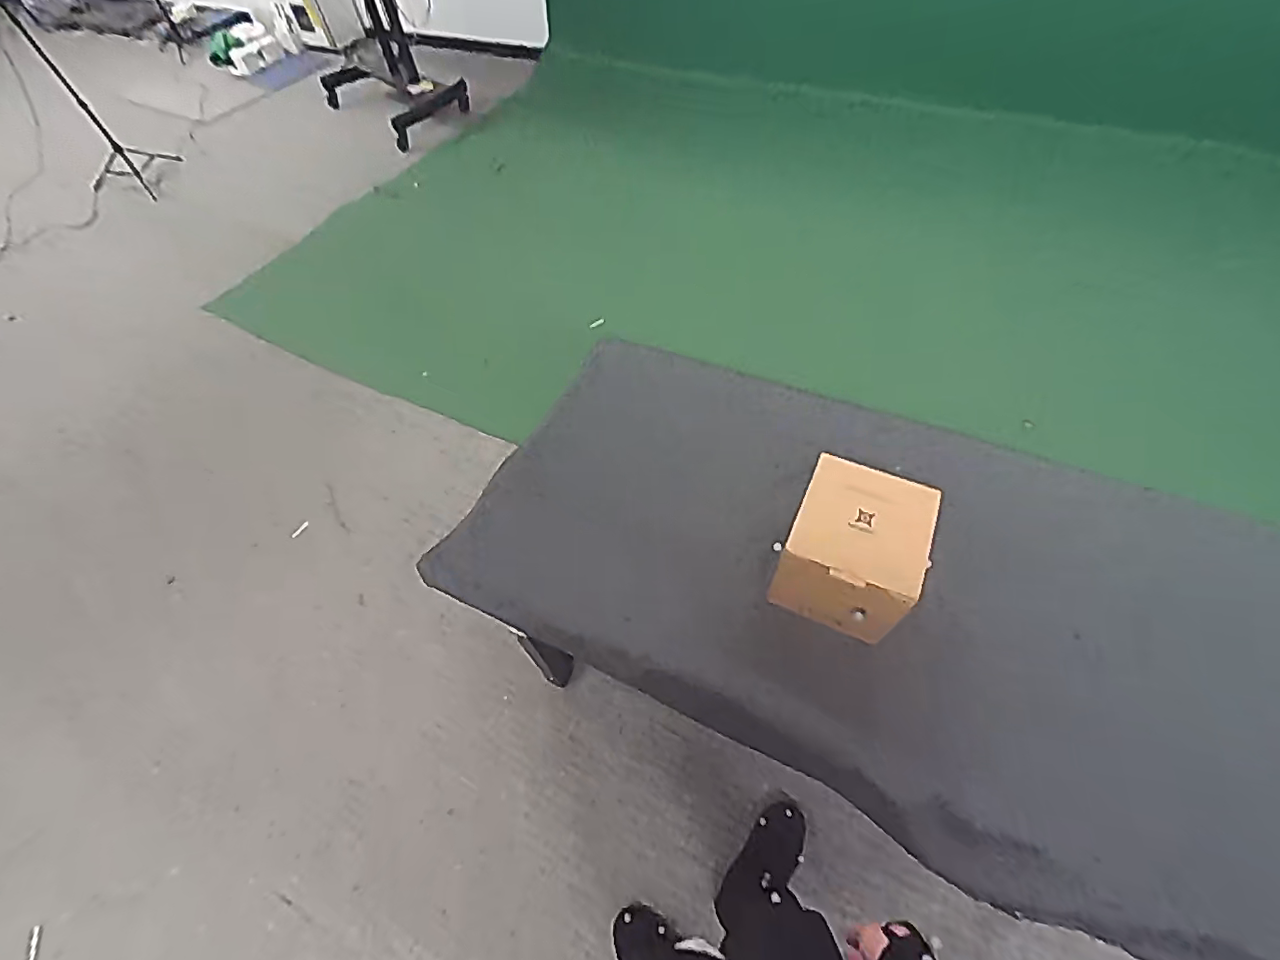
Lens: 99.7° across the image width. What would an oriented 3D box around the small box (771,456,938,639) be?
[{"bbox_3d":[0.298,0.102,0.780,0.168,0.176,0.179,21,59,15],"label":"small box"}]
